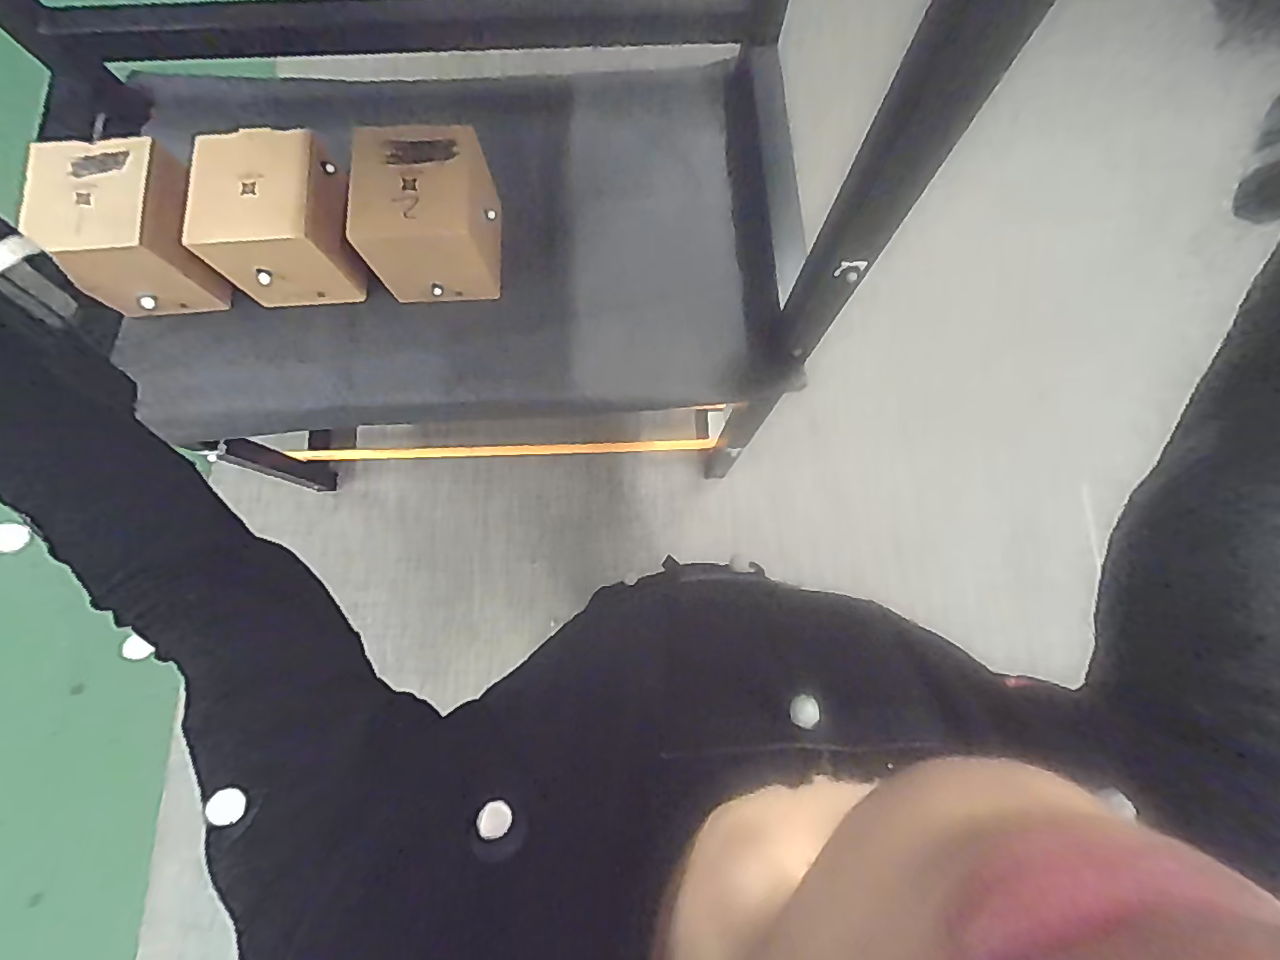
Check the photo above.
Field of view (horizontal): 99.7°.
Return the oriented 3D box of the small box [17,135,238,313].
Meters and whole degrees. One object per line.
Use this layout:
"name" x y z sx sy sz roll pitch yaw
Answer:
"small box" -0.747 -0.375 0.812 0.168 0.176 0.179 -4 78 -1
